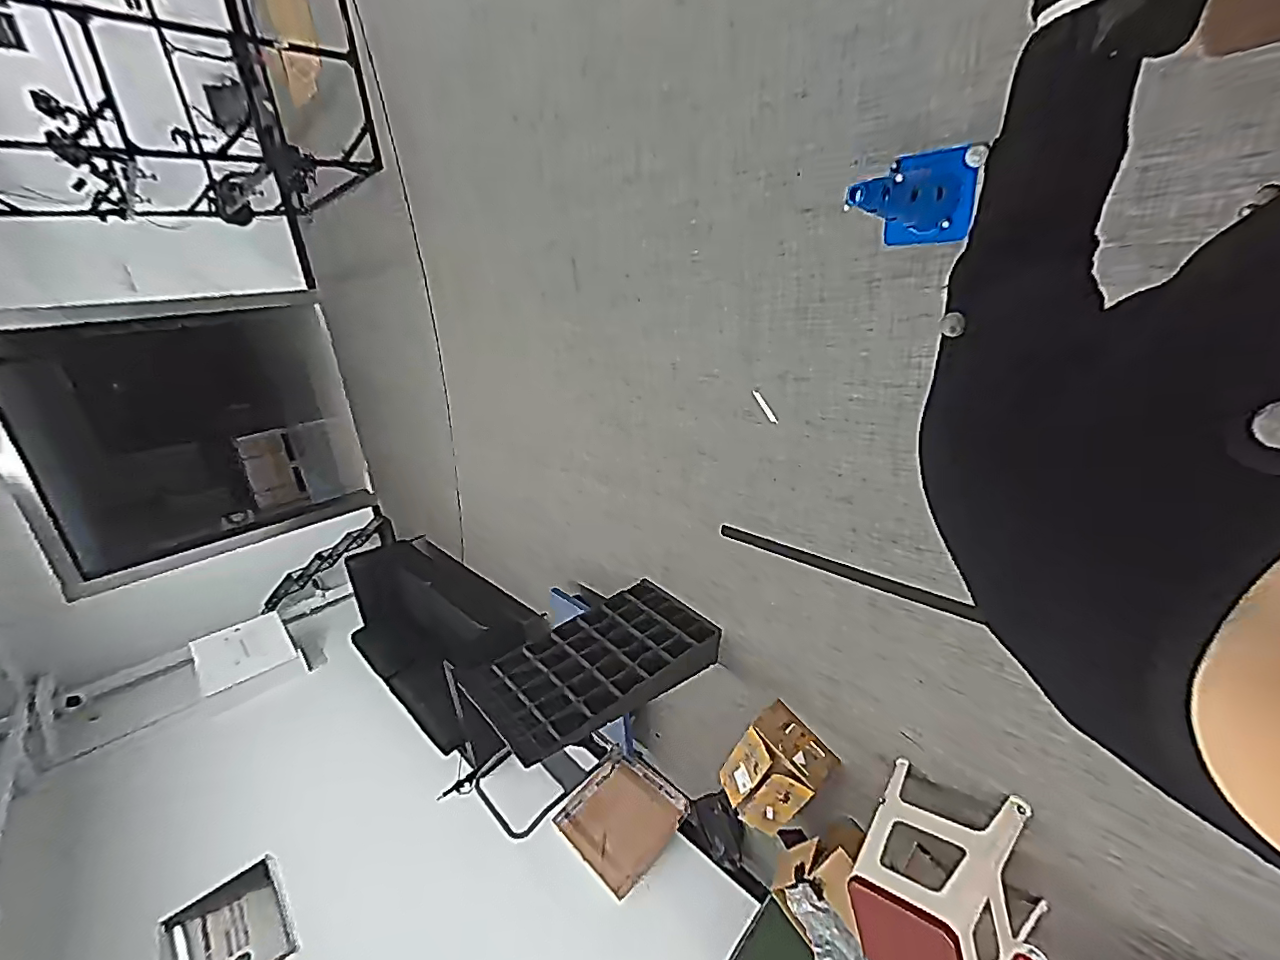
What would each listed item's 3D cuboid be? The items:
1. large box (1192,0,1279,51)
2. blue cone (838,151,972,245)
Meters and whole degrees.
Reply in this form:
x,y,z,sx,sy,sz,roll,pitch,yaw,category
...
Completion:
x,y,z,sx,sy,sz,roll,pitch,yaw,category
0.542,-0.459,0.226,0.408,0.320,0.320,15,121,44,large box
0.562,-0.624,1.196,0.192,0.380,0.193,21,123,45,blue cone
